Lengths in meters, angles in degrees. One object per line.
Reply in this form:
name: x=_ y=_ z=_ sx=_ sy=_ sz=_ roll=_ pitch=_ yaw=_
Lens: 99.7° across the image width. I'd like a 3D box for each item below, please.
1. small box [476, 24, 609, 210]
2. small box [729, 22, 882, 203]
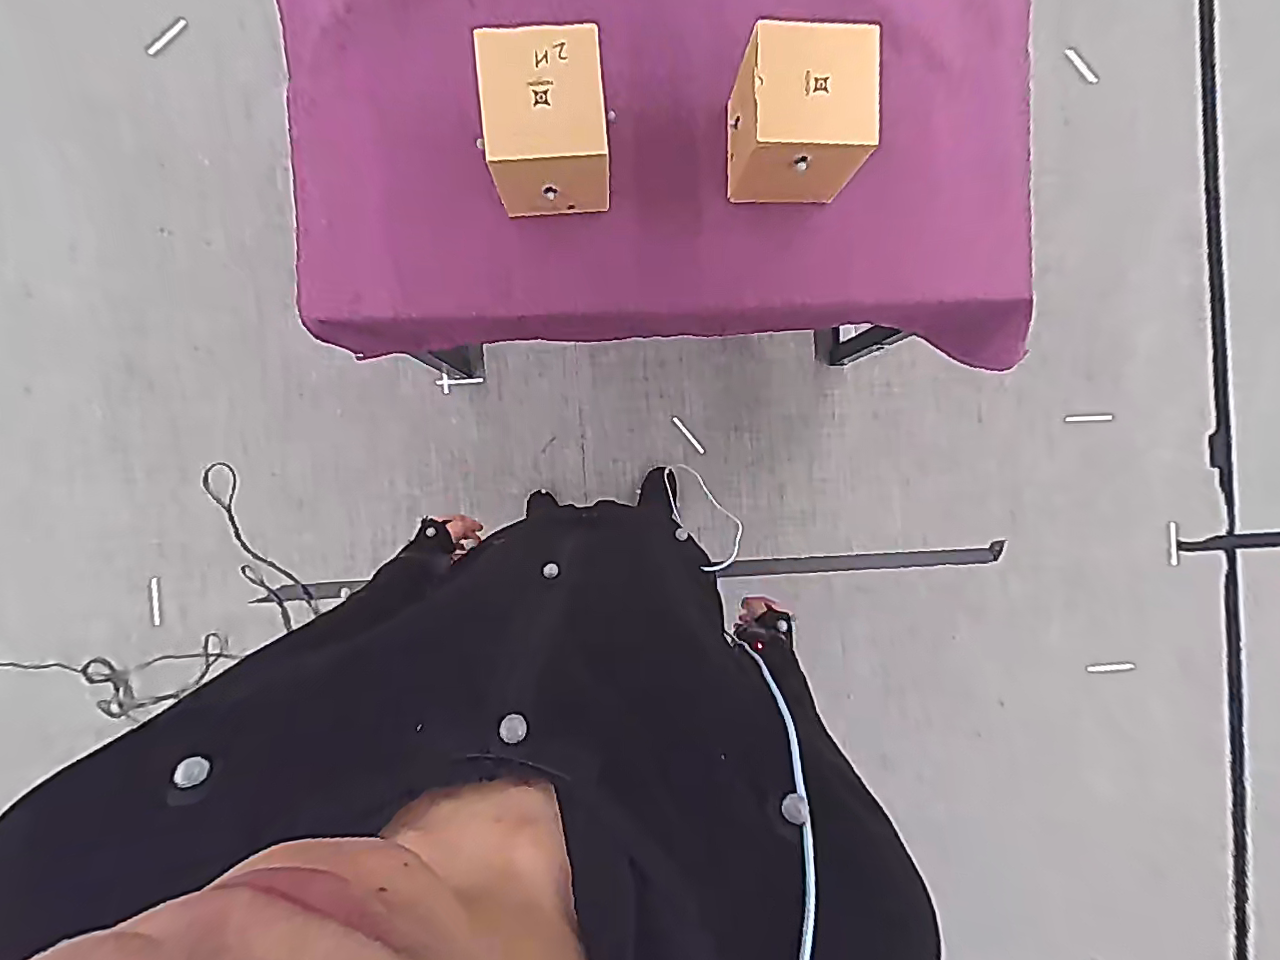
small box: x=-0.133 y=-0.516 z=0.796 sx=0.168 sy=0.176 sz=0.179 roll=-4 pitch=92 yaw=-3
small box: x=0.240 y=-0.540 z=0.818 sx=0.179 sy=0.176 sz=0.168 roll=0 pitch=92 yaw=-3
